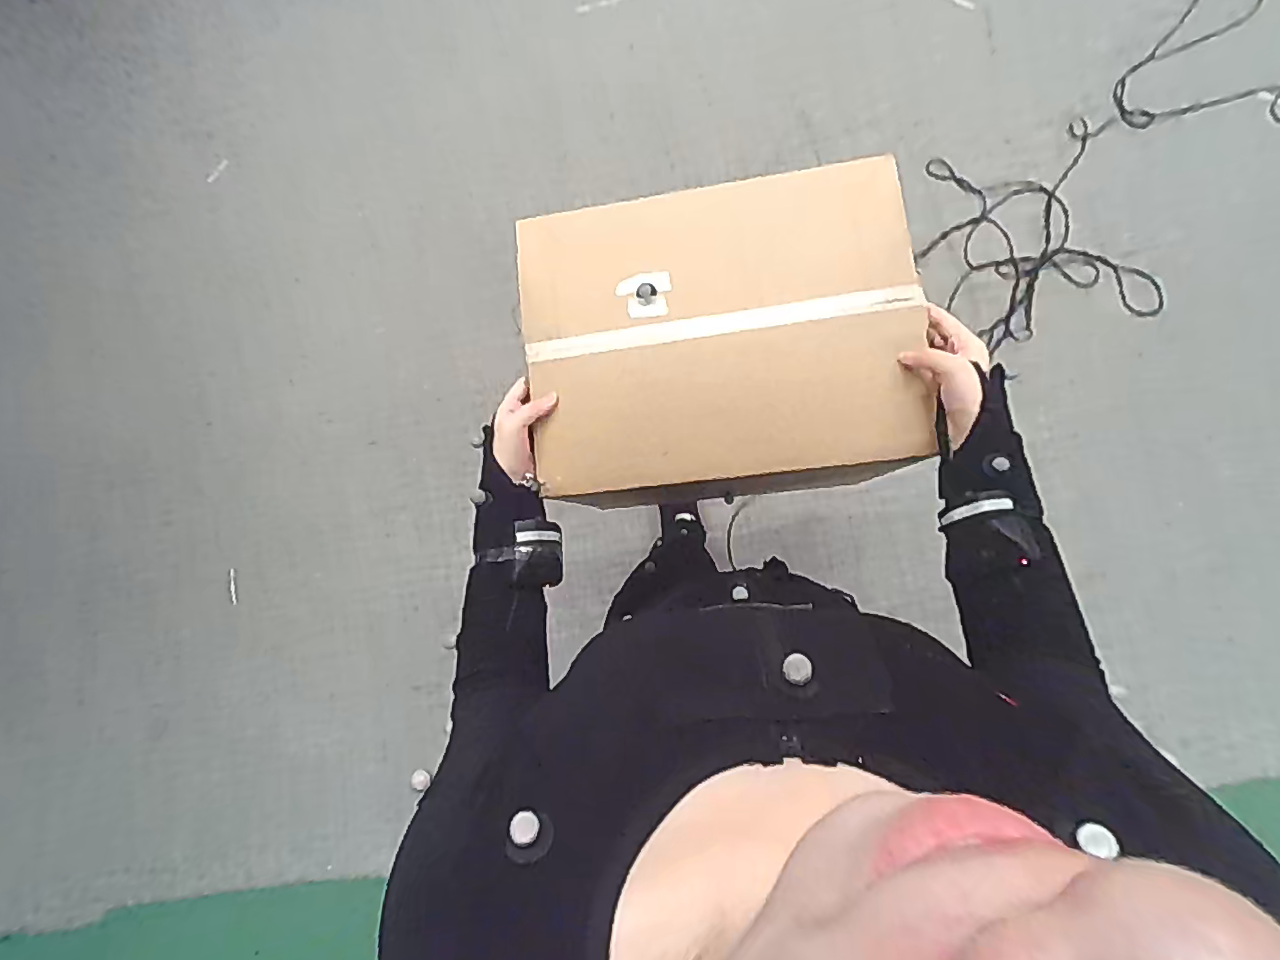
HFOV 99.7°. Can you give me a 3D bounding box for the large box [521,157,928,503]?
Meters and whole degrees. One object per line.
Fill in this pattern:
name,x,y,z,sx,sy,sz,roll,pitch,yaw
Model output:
large box,0.098,-0.148,0.720,0.408,0.320,0.320,-7,83,9
